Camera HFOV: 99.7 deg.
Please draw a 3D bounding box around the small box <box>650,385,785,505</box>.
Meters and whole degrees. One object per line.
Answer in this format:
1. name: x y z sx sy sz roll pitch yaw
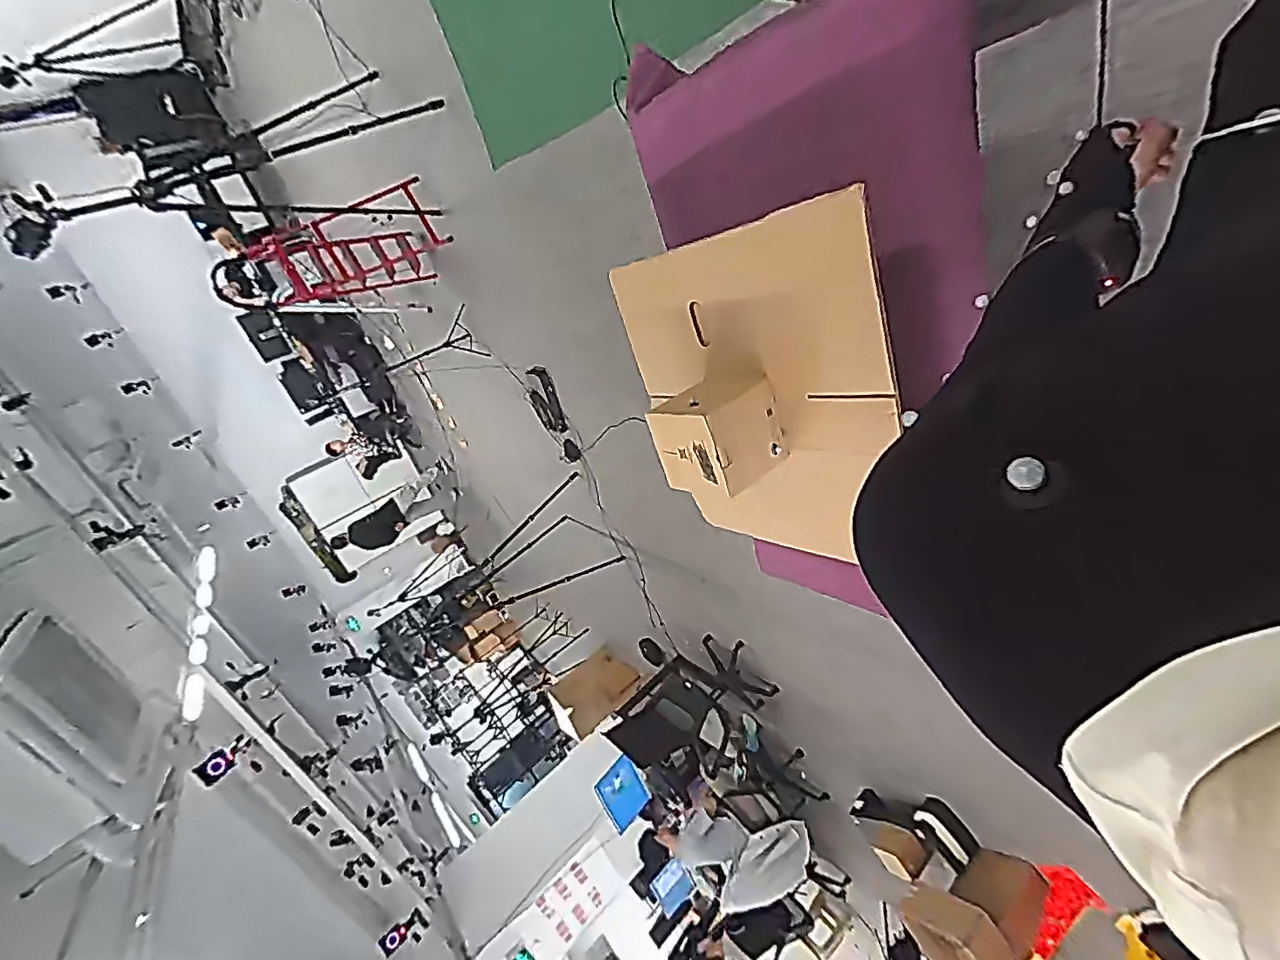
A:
1. small box: 0.154 -0.074 1.025 0.179 0.176 0.168 11 127 54
